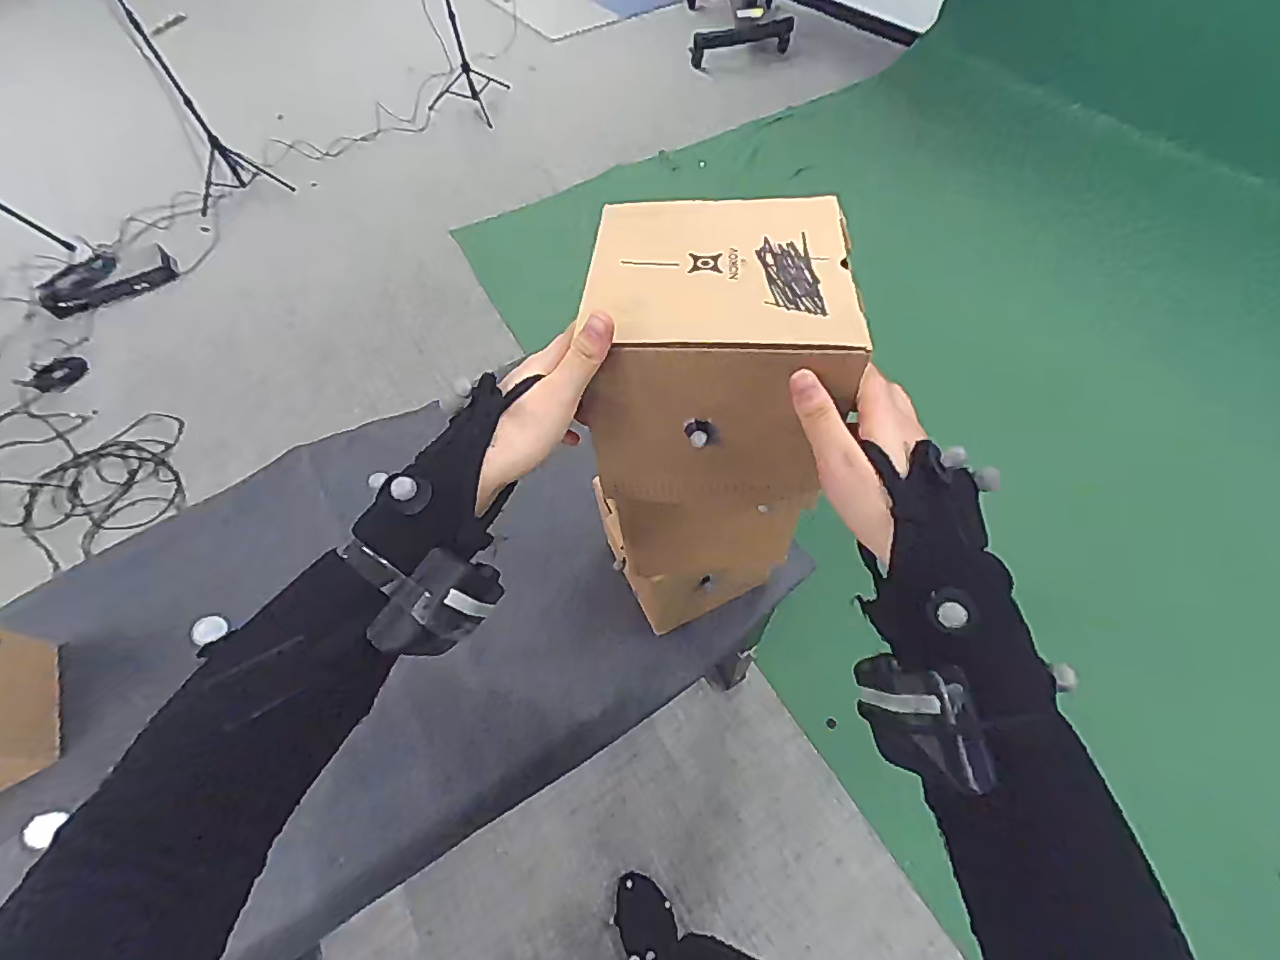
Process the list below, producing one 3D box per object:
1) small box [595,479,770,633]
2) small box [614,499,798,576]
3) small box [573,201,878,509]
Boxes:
[{"bbox_3d":[0.062,0.073,0.706,0.179,0.176,0.168,-24,56,-11],"label":"small box"},{"bbox_3d":[0.061,-0.011,0.565,0.179,0.176,0.168,-6,54,0],"label":"small box"},{"bbox_3d":[0.060,-0.089,0.418,0.179,0.176,0.168,2,54,7],"label":"small box"}]
